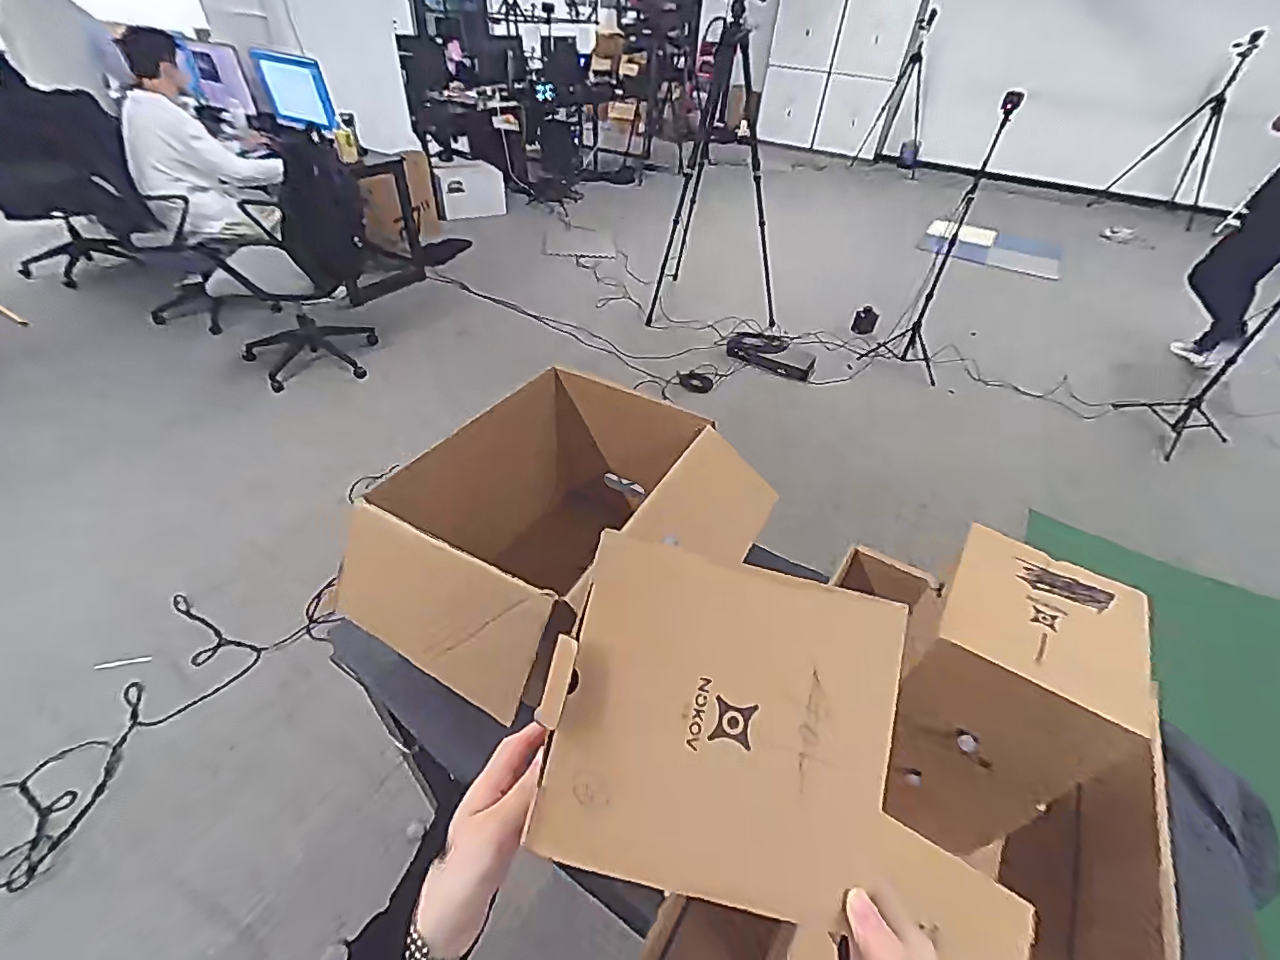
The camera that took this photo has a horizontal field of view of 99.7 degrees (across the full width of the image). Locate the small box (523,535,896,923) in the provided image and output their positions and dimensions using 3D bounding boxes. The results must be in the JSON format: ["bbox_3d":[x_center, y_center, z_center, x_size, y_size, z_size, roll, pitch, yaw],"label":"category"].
[{"bbox_3d":[0.038,0.144,0.369,0.179,0.176,0.168,14,79,-1],"label":"small box"}]

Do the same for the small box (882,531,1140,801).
[{"bbox_3d":[0.382,0.195,0.578,0.168,0.176,0.179,27,49,23],"label":"small box"}]
